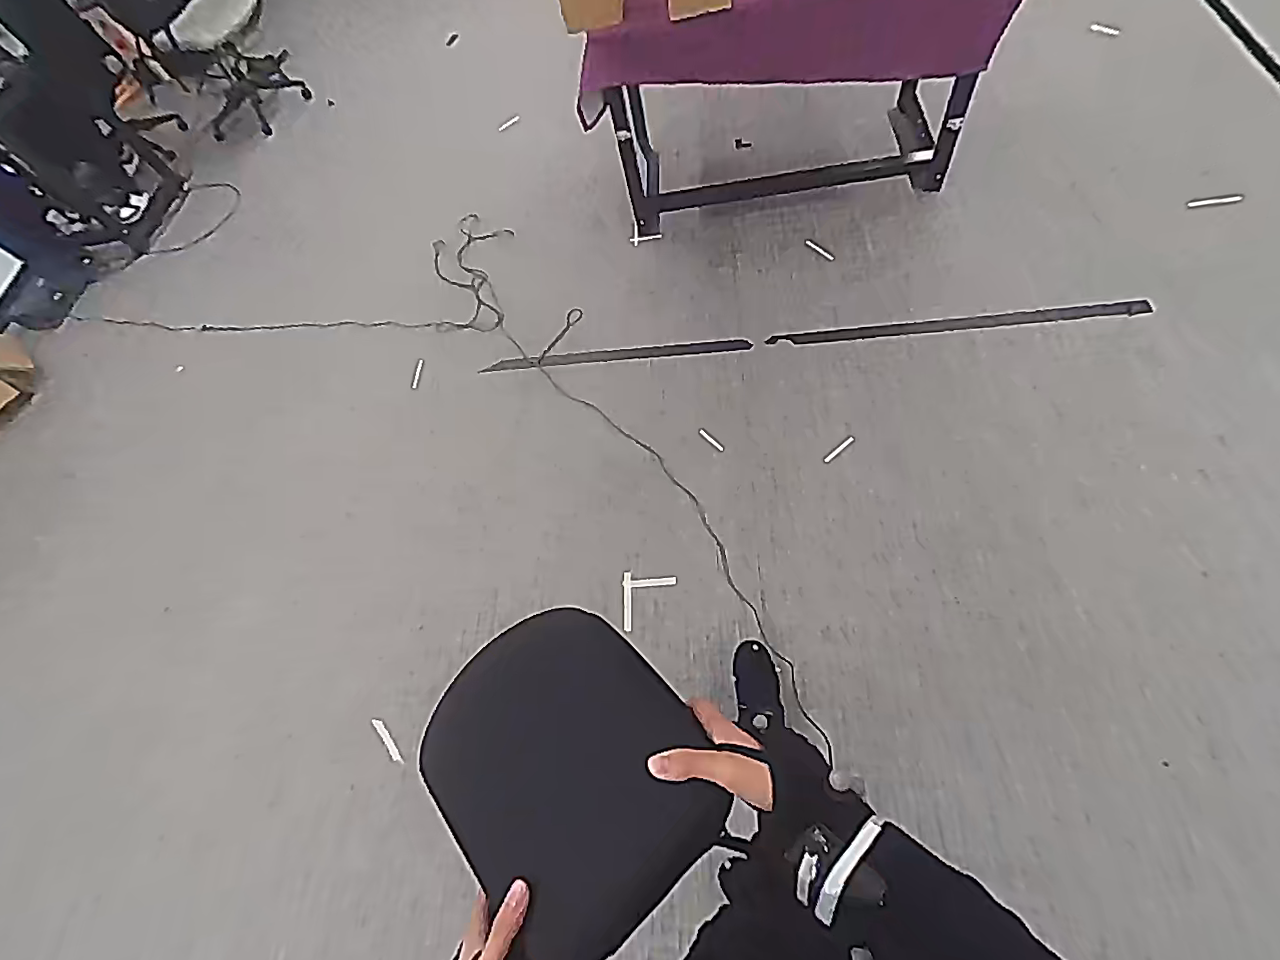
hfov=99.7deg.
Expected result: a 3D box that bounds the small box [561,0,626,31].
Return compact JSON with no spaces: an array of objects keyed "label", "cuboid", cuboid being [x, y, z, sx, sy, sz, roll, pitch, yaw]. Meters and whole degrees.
[{"label":"small box","cuboid":[-0.147,-1.464,1.590,0.179,0.176,0.168,-4,63,9]}]
